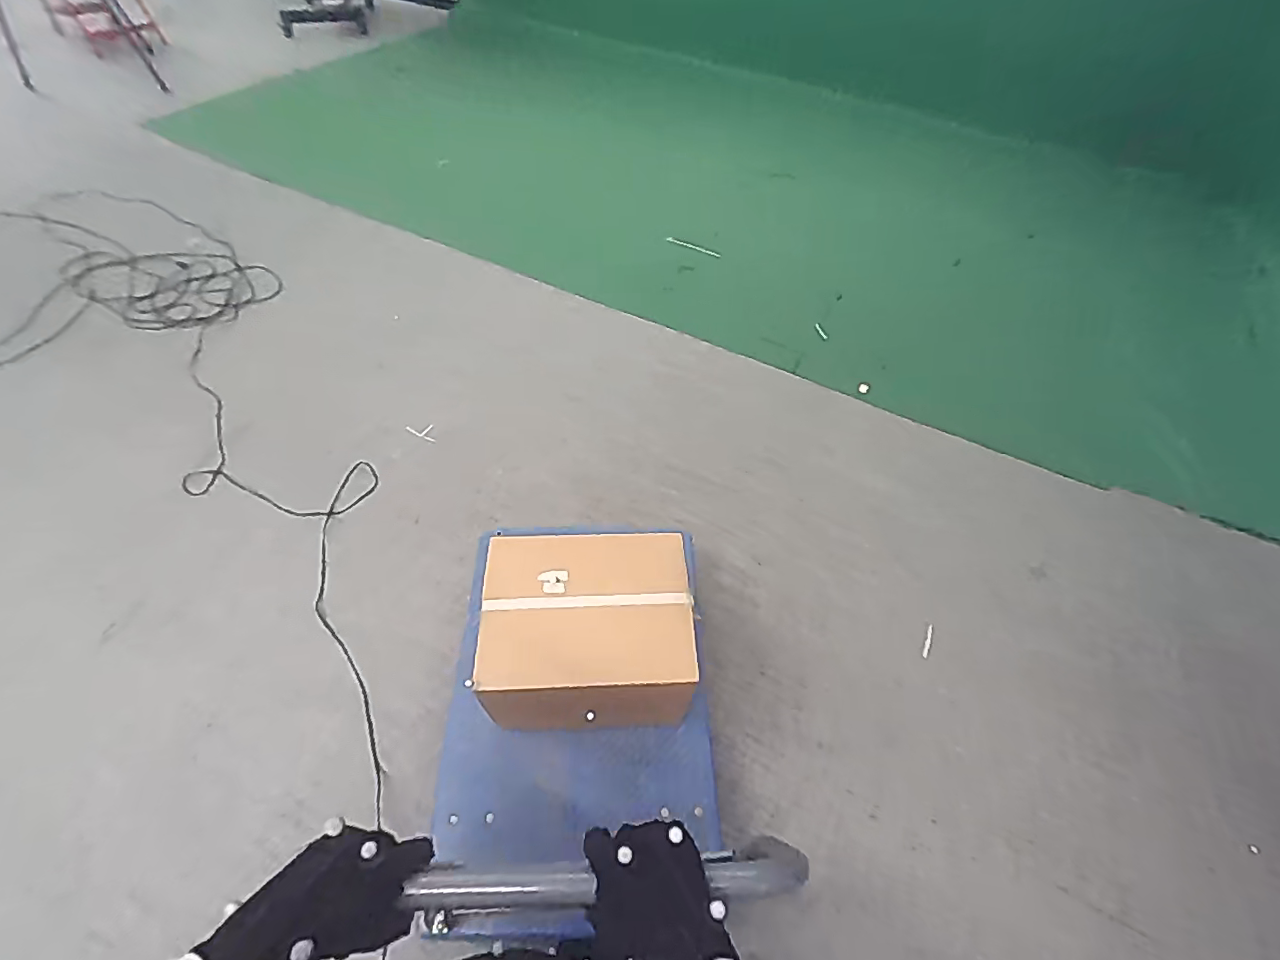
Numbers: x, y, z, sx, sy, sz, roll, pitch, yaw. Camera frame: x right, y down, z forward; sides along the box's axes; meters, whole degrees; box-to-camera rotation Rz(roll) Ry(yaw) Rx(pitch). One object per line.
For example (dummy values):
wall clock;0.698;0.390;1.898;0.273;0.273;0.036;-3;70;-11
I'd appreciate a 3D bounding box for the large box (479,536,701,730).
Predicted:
large box;-0.102;0.338;1.173;0.408;0.320;0.320;-2;53;-4
